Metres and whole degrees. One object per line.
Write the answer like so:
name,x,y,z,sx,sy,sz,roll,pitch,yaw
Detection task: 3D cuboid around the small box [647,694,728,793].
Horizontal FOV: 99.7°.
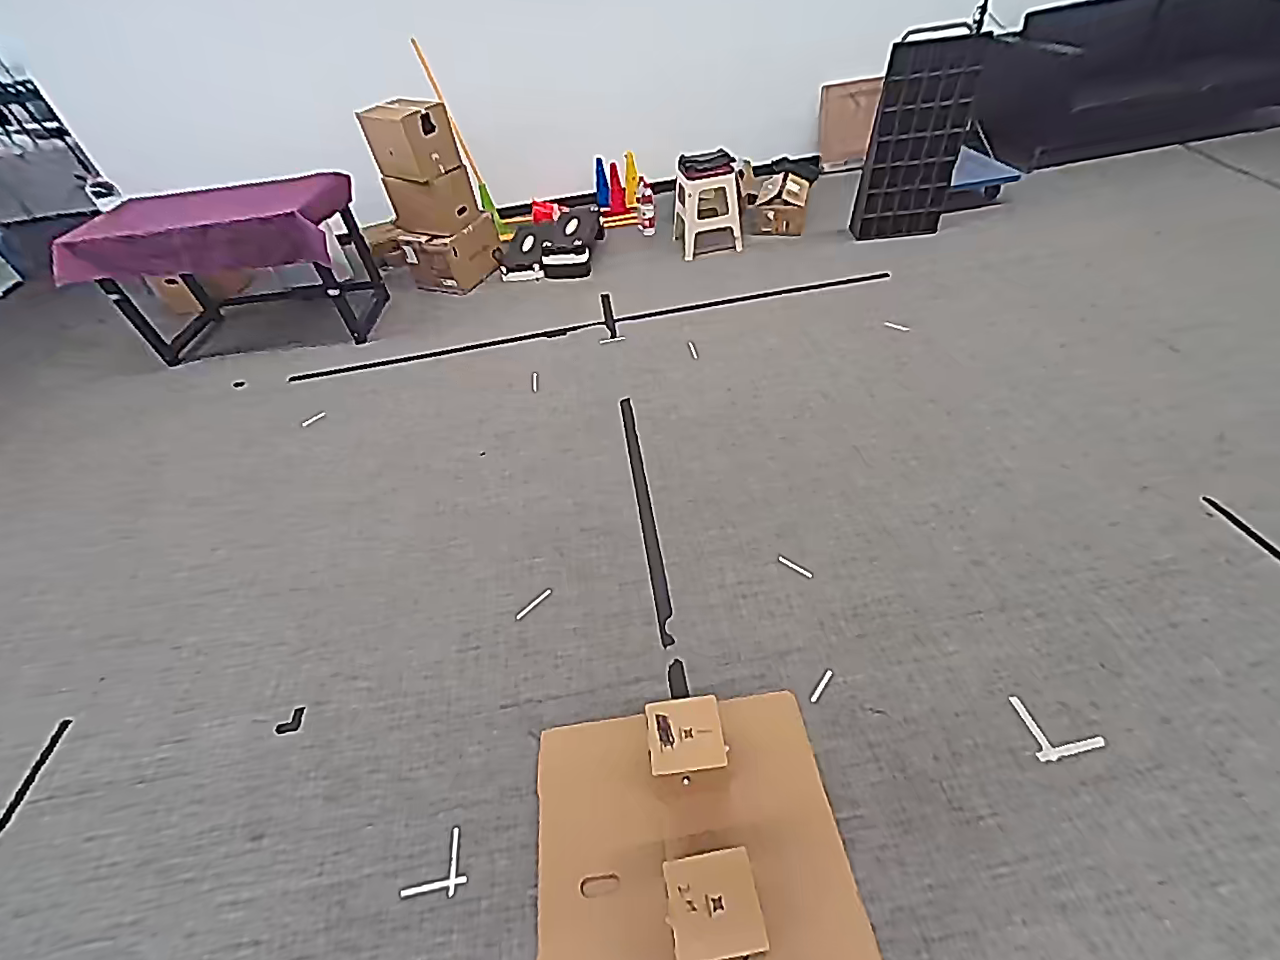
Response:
small box,0.118,0.655,1.335,0.179,0.176,0.168,-8,45,1

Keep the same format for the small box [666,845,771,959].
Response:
small box,0.156,0.874,1.108,0.179,0.176,0.168,-11,44,0
